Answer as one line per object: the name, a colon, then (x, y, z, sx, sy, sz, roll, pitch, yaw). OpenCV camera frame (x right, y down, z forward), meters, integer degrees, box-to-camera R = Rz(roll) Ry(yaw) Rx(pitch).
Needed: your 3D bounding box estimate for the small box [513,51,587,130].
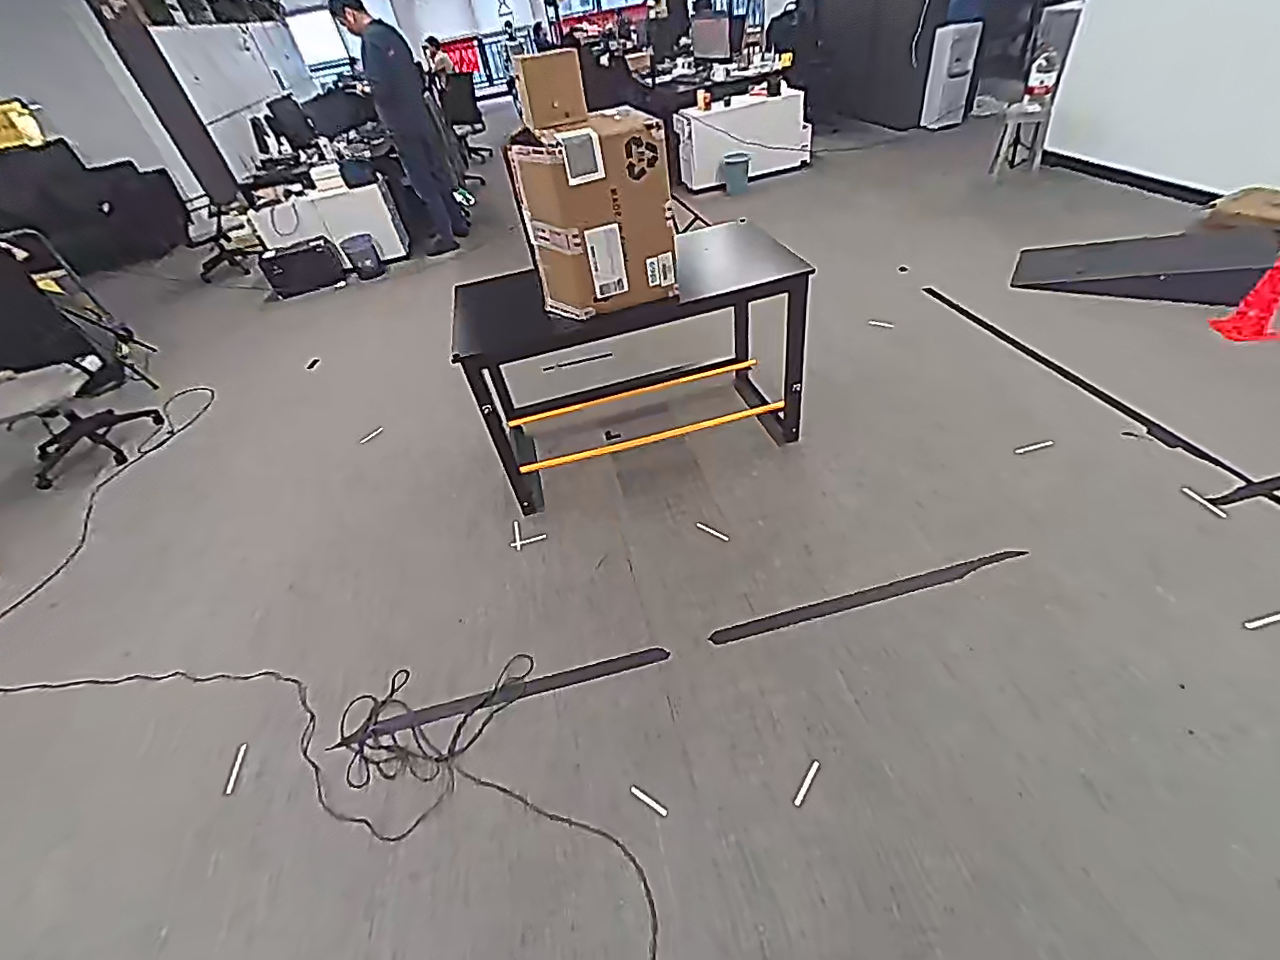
small box: (-0.266, -1.149, 1.596, 0.168, 0.176, 0.179, -17, 41, -10)
